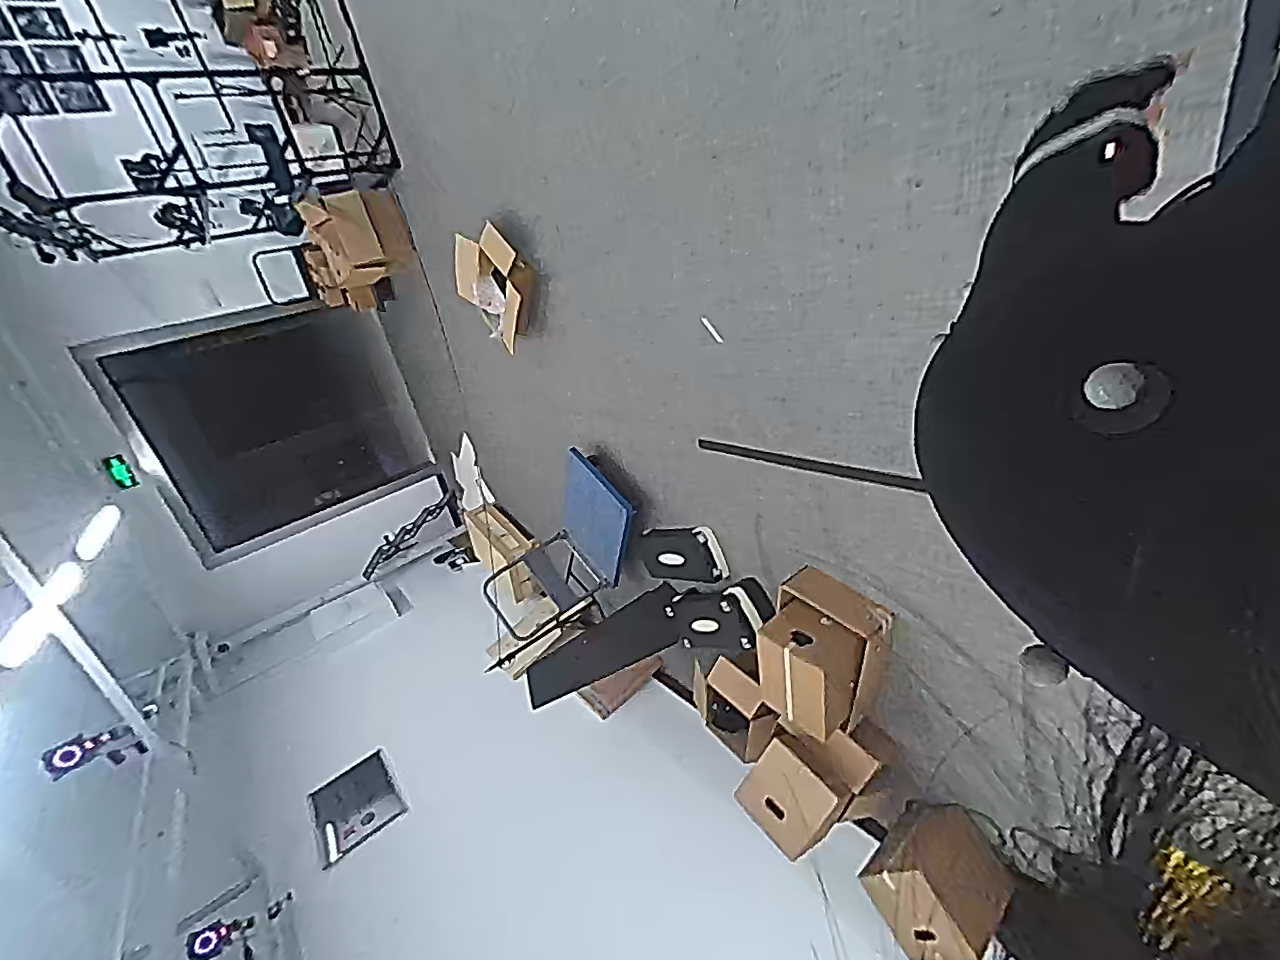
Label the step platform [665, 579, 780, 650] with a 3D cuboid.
[{"bbox_3d":[0.398,0.714,2.810,0.286,0.204,0.684,61,149,2],"label":"step platform"}]
